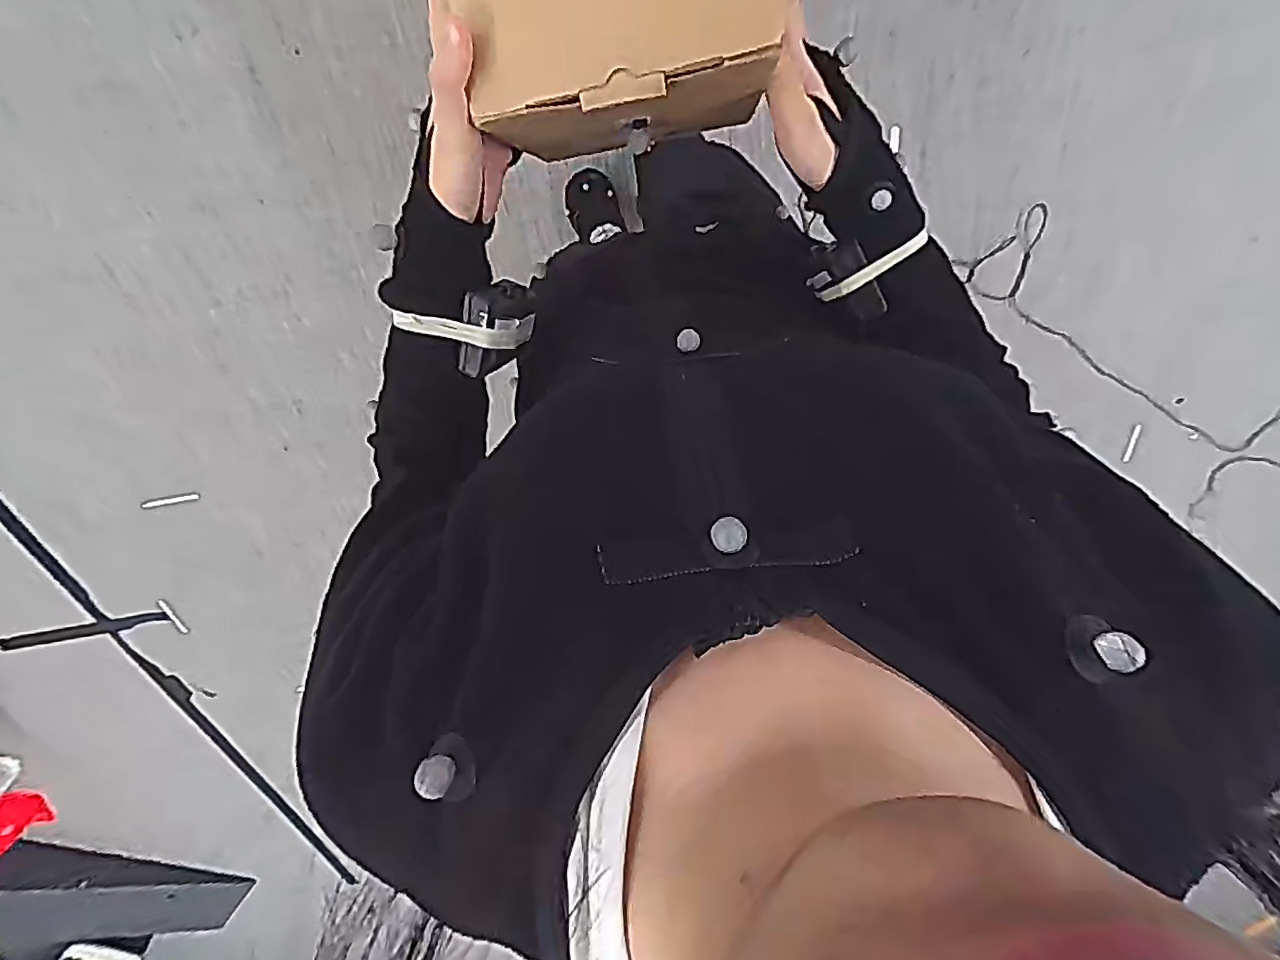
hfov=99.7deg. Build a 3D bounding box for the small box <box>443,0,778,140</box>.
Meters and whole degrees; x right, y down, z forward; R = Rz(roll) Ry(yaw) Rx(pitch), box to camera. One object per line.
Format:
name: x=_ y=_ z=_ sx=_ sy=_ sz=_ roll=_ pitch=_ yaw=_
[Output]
small box: x=-0.017 y=-0.315 z=0.314 sx=0.168 sy=0.176 sz=0.179 roll=-7 pitch=114 yaw=7
